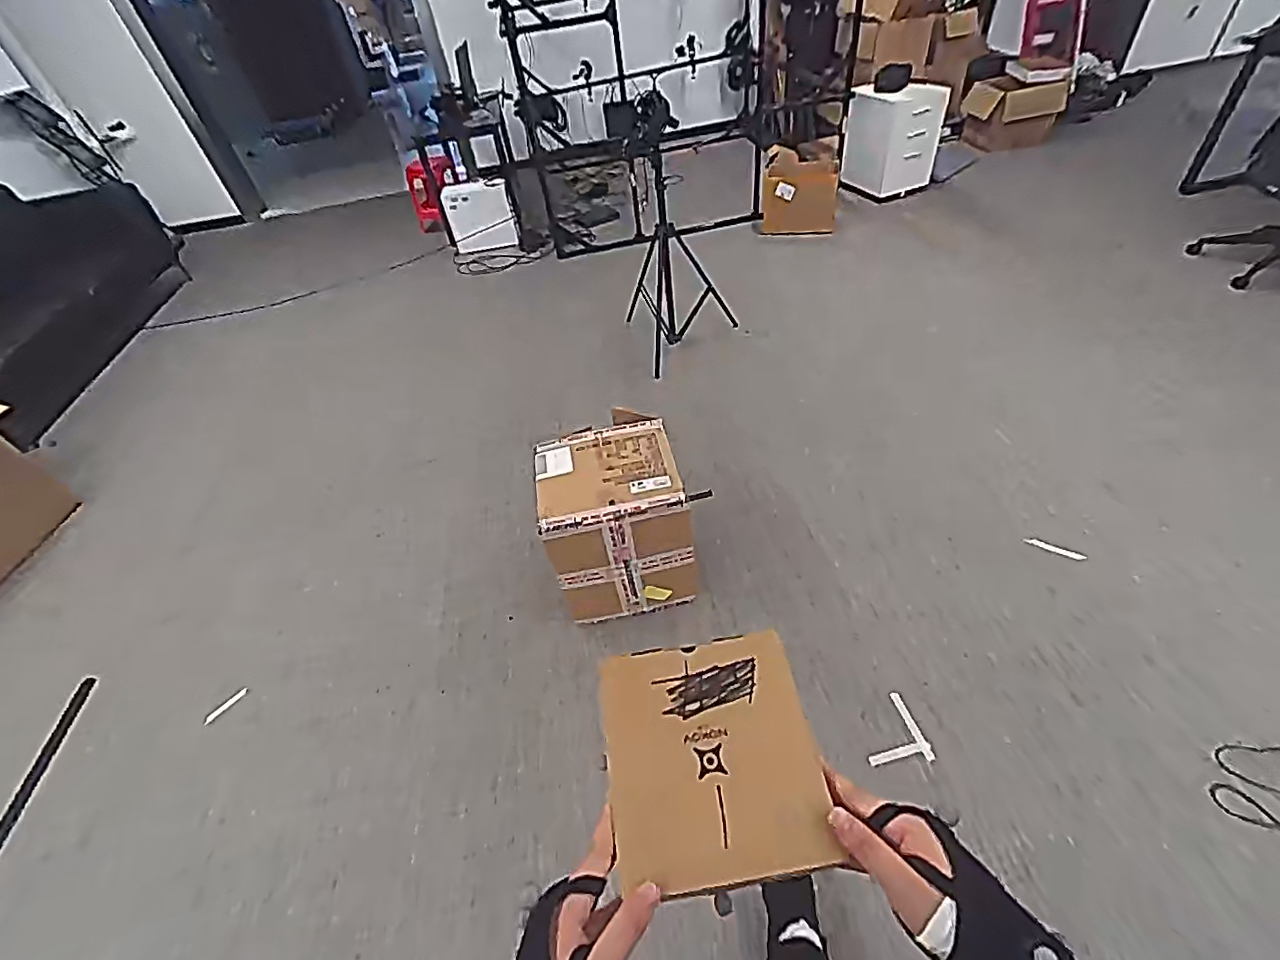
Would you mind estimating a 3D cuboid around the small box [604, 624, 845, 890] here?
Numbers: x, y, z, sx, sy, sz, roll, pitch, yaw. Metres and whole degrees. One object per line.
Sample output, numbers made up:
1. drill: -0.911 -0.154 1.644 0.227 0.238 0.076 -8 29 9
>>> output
1. small box: 0.062 0.258 0.501 0.168 0.176 0.179 -9 52 -2
